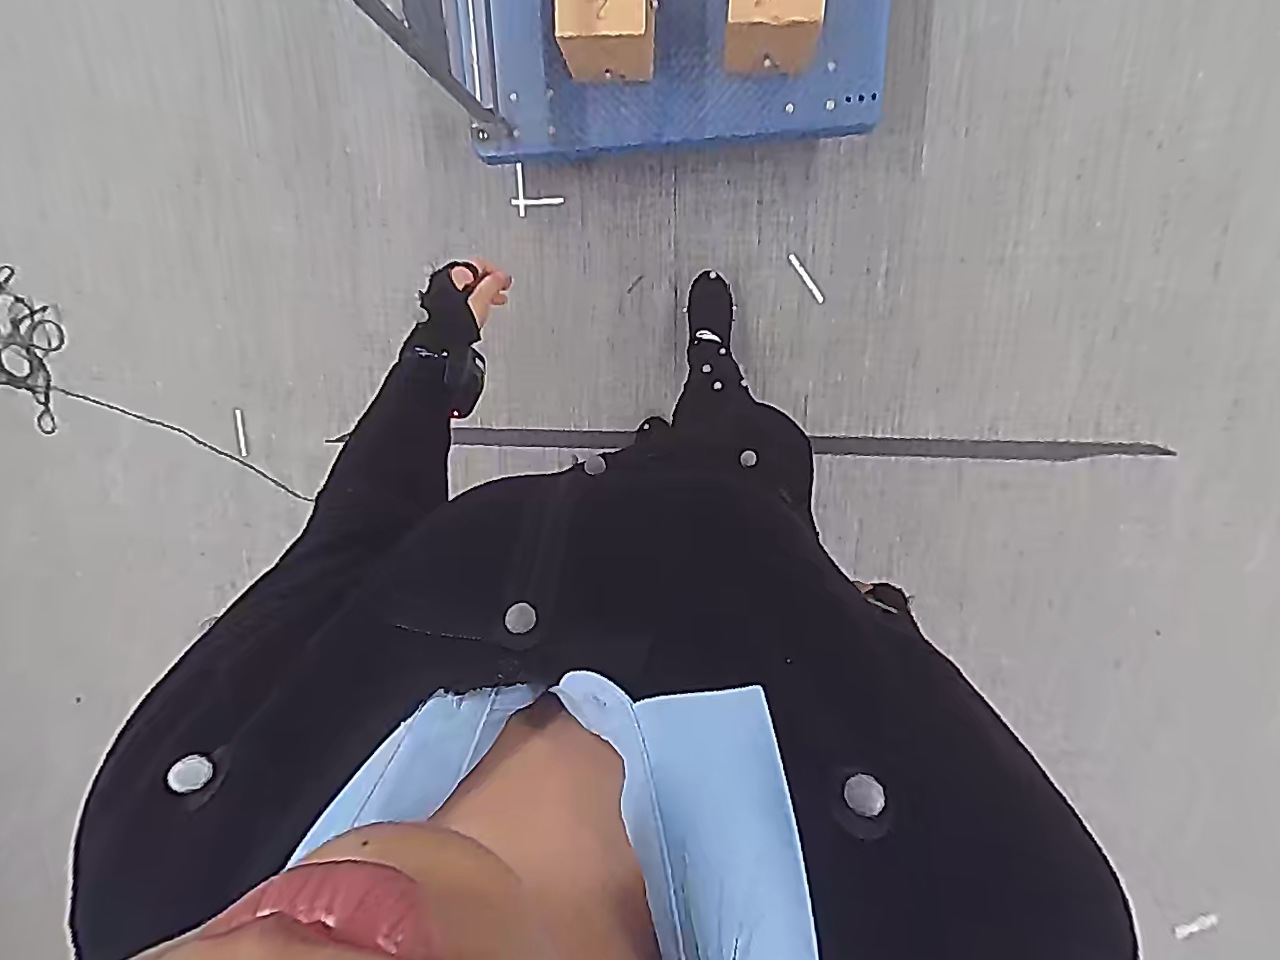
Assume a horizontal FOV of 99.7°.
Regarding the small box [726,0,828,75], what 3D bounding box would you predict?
[{"bbox_3d":[0.250,-0.889,0.994,0.168,0.176,0.179,4,102,6],"label":"small box"}]
